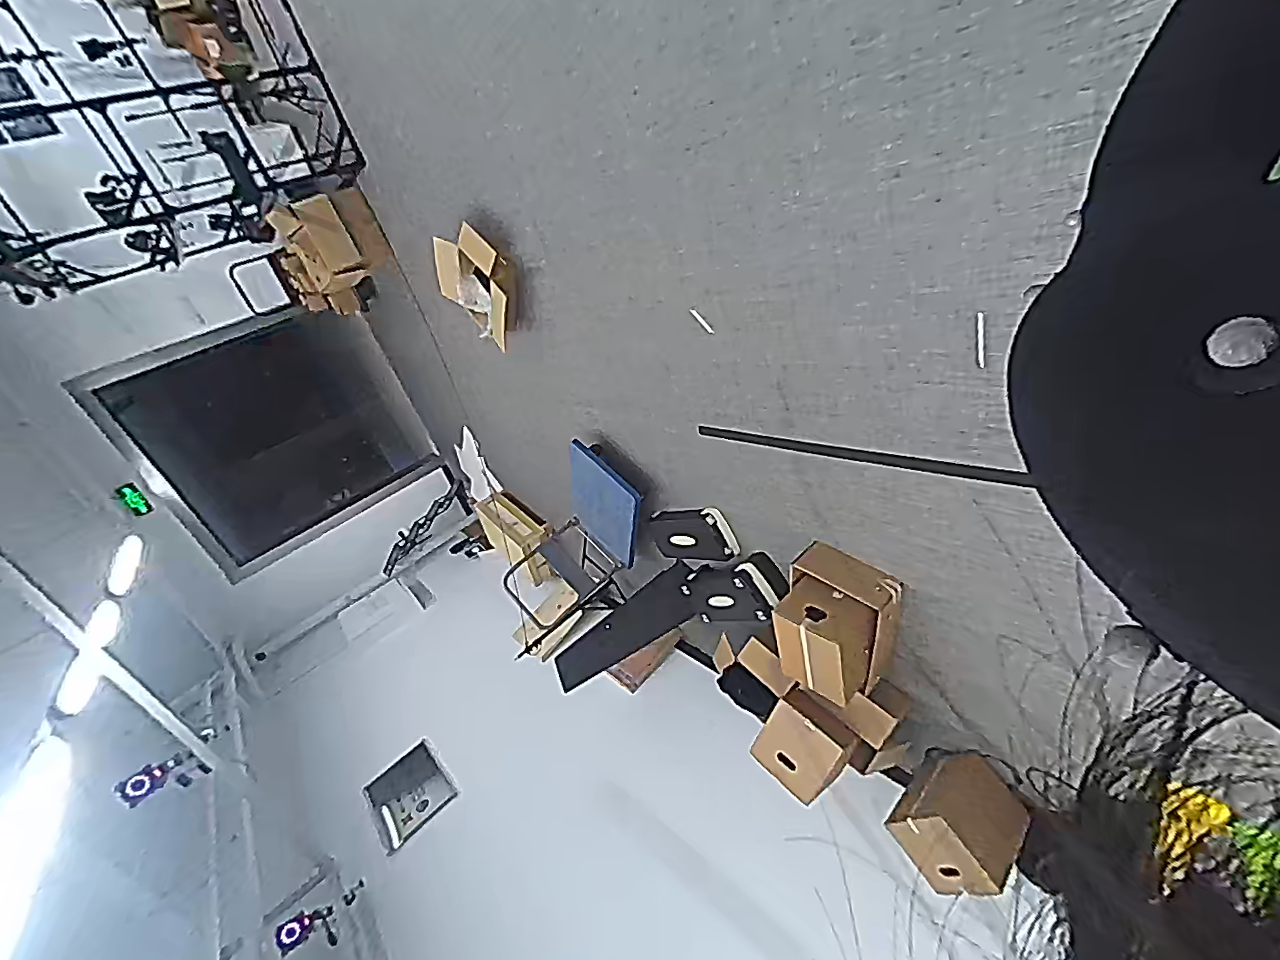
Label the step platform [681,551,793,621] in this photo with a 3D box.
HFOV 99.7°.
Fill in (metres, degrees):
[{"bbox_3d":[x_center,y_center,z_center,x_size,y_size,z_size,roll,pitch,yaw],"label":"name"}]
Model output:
[{"bbox_3d":[0.495,0.589,2.907,0.286,0.204,0.684,55,151,-1],"label":"step platform"}]
